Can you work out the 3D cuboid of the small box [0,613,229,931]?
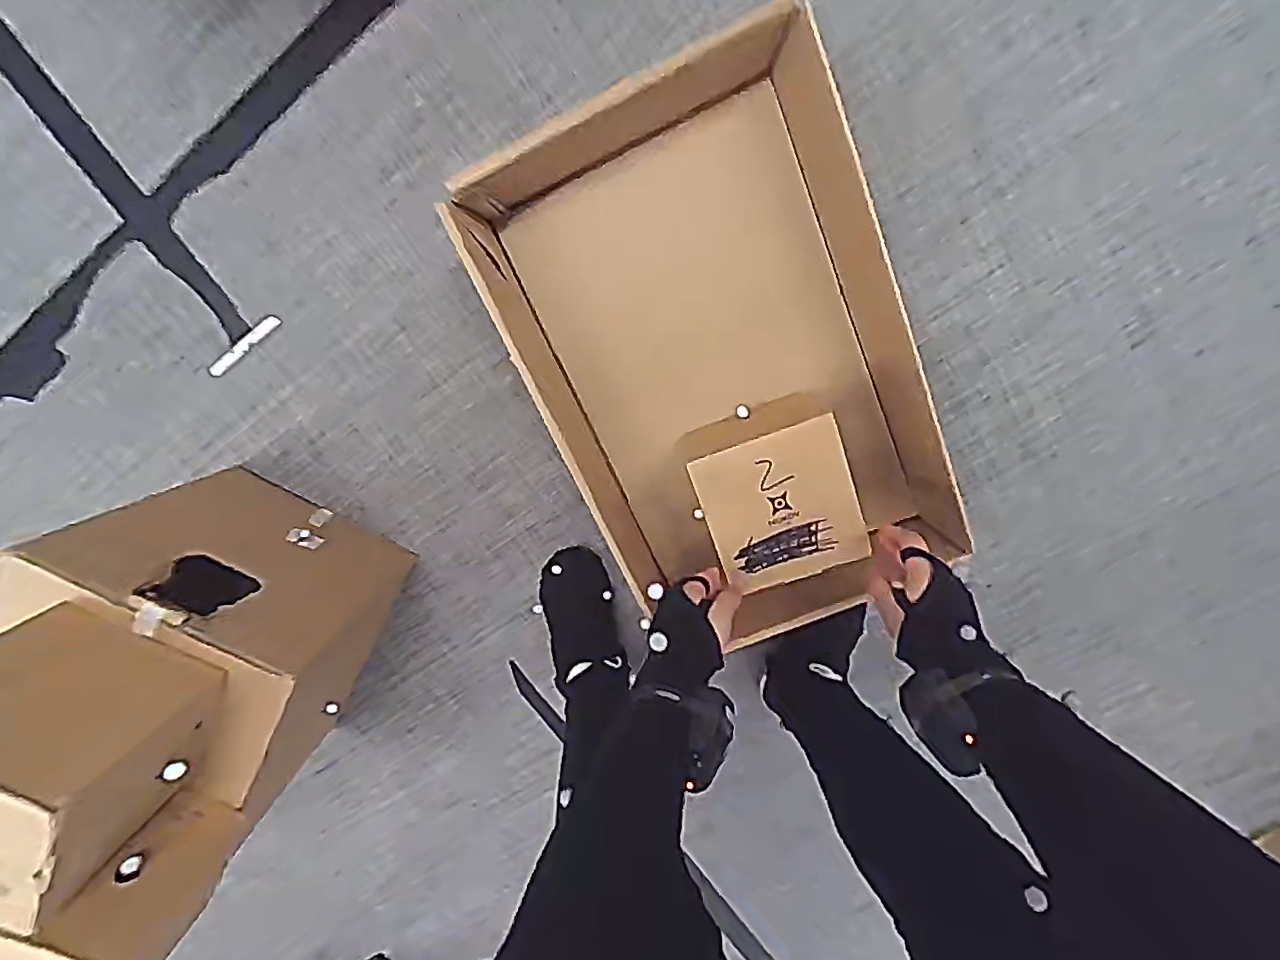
[{"bbox_3d":[-0.544,0.251,0.502,0.179,0.176,0.168,27,107,-6],"label":"small box"}]

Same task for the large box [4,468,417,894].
[{"bbox_3d":[-0.579,0.253,0.762,0.320,0.320,0.408,28,107,-5],"label":"large box"}]
